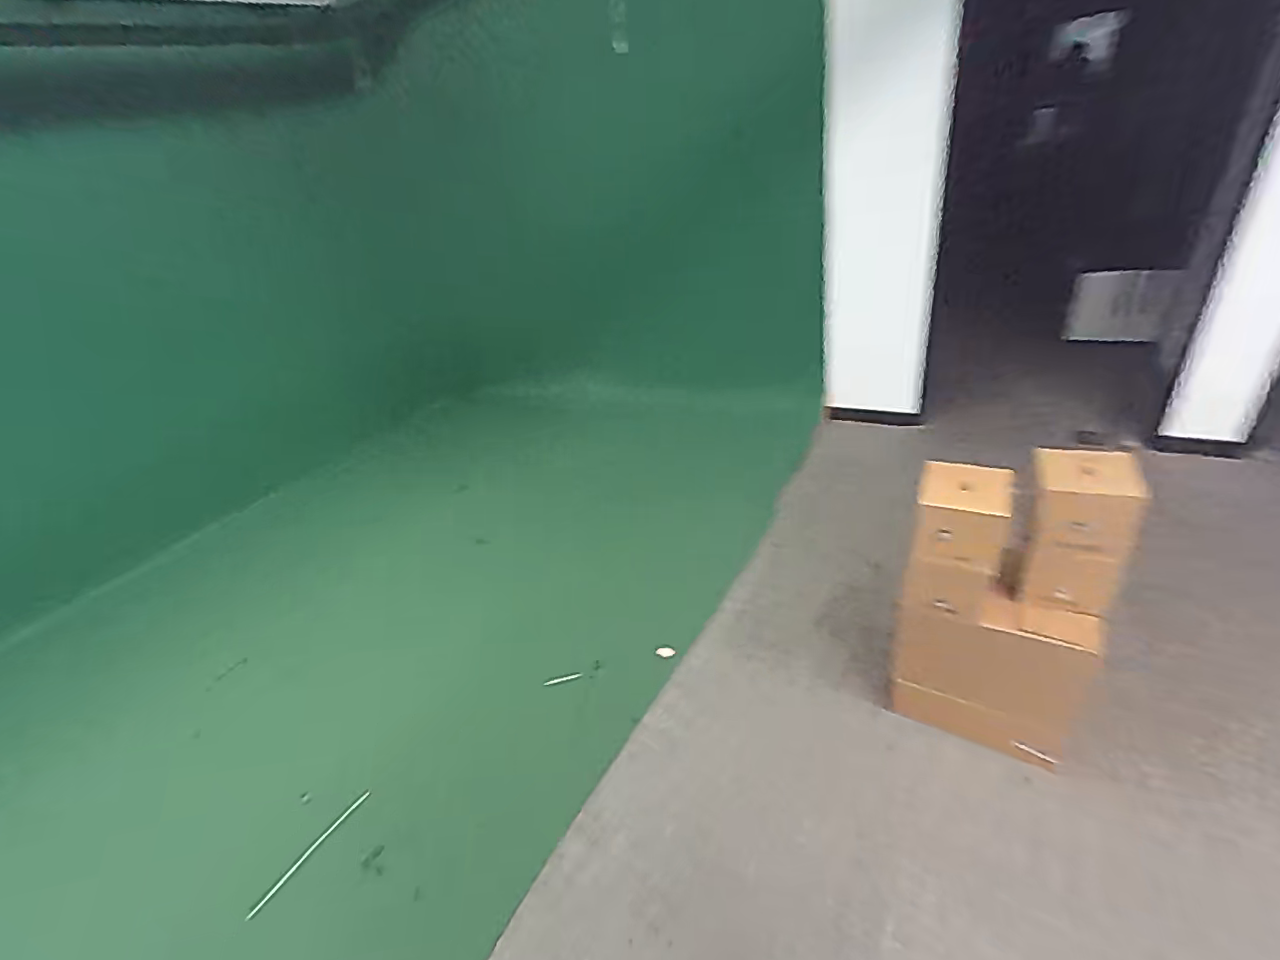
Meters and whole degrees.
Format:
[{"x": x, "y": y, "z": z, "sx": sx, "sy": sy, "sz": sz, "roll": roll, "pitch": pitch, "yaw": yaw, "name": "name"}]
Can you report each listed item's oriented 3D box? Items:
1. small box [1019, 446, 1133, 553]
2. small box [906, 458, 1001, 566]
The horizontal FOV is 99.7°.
[{"x": 0.964, "y": 0.042, "z": 1.211, "sx": 0.168, "sy": 0.176, "sz": 0.179, "roll": 6, "pitch": 36, "yaw": 28, "name": "small box"}, {"x": 0.720, "y": 0.073, "z": 1.247, "sx": 0.168, "sy": 0.176, "sz": 0.179, "roll": 10, "pitch": 40, "yaw": 29, "name": "small box"}]
